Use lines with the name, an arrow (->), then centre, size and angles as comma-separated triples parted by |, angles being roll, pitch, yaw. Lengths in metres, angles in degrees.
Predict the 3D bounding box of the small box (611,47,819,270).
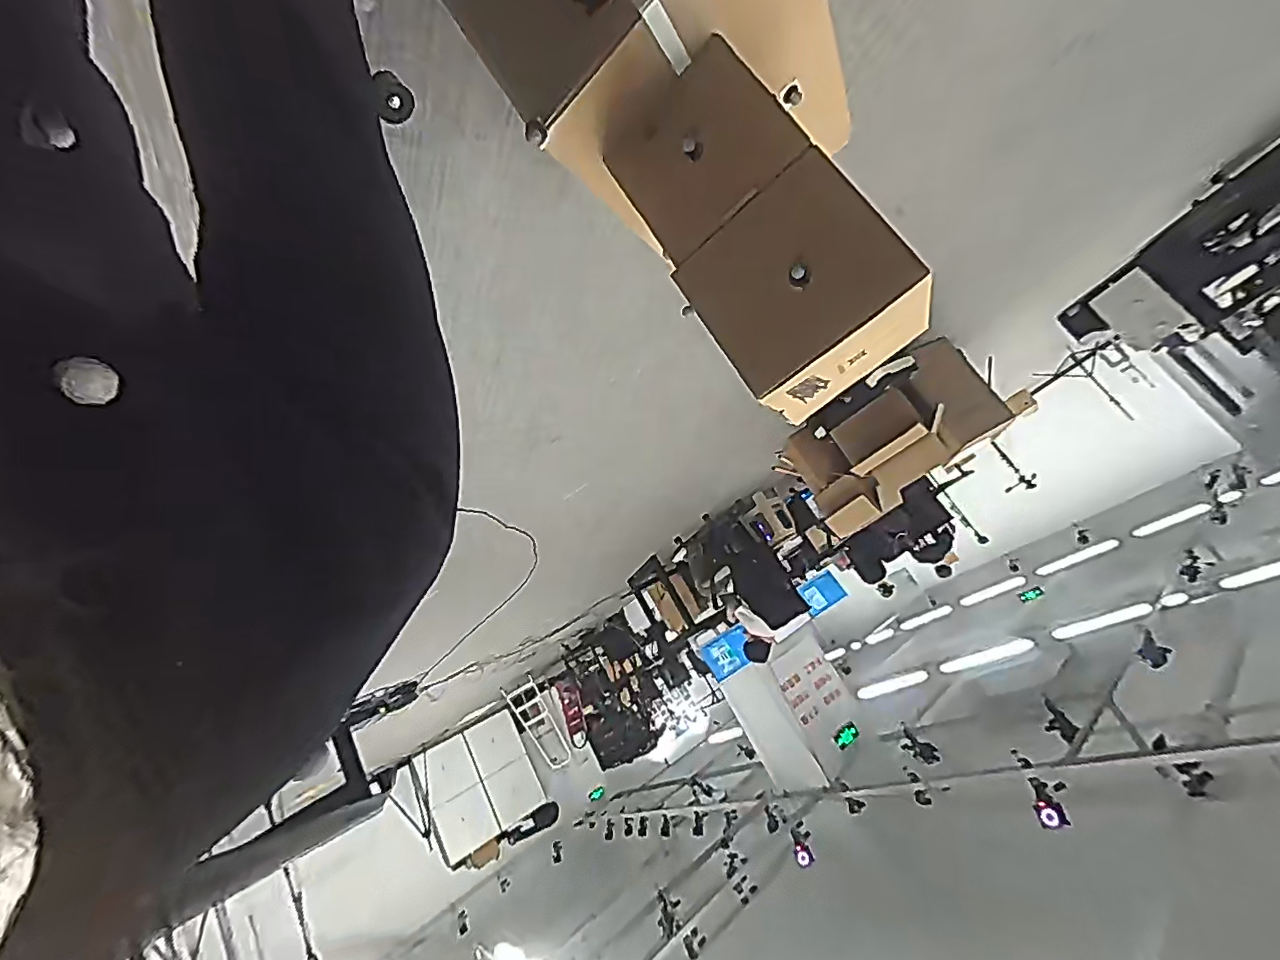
small box -> 0.099, -0.333, 0.610 | 0.168, 0.176, 0.179 | -42, 161, 26

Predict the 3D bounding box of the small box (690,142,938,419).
small box -> 0.173, -0.191, 0.560 | 0.179, 0.176, 0.168 | -40, 161, 21
